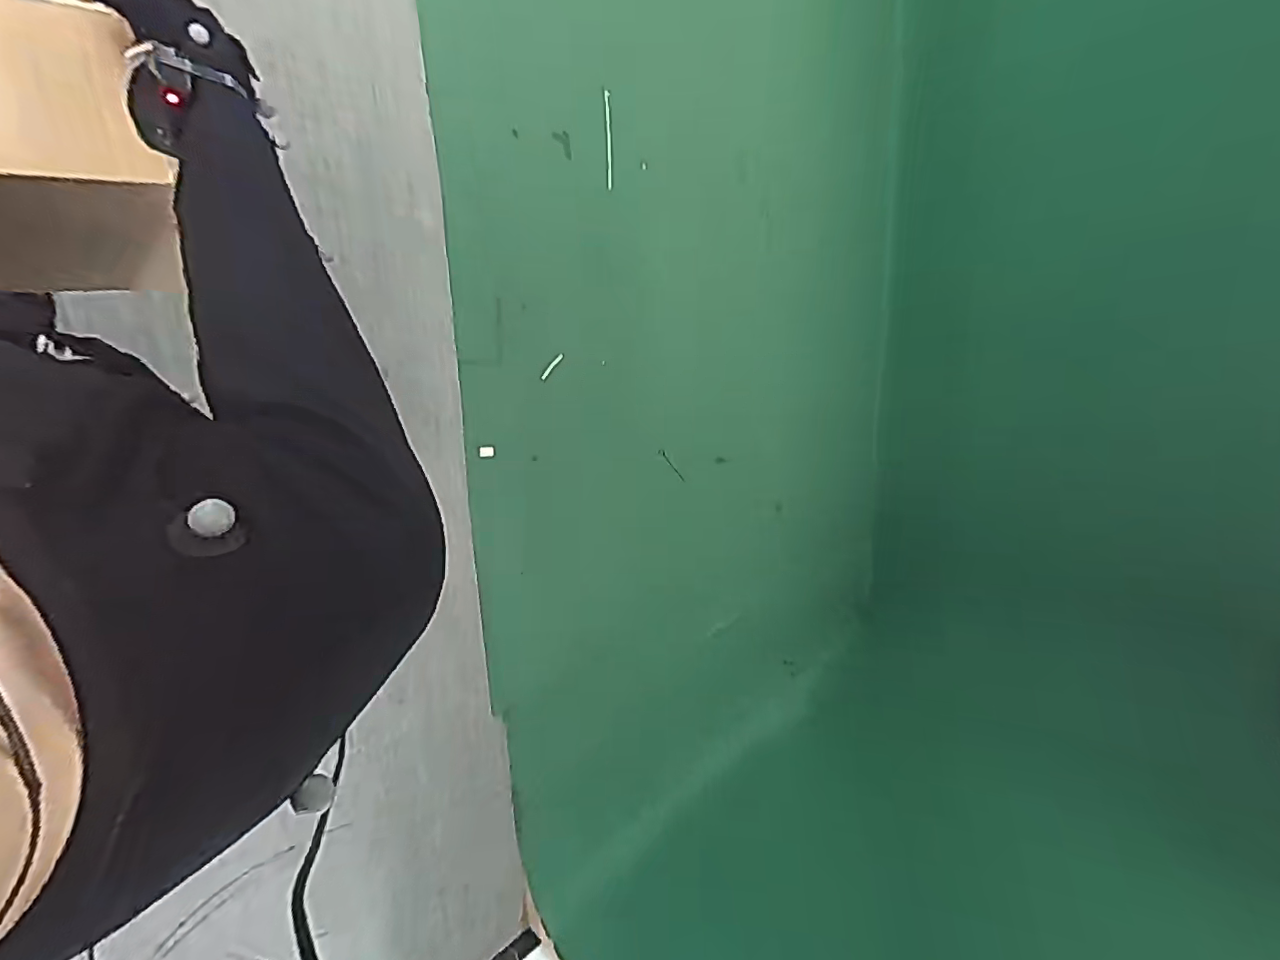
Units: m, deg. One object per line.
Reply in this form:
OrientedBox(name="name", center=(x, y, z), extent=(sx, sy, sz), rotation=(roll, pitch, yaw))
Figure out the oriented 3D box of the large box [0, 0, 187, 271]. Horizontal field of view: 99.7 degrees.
OrientedBox(name="large box", center=(-0.724, -0.396, 0.499), extent=(0.408, 0.320, 0.320), rotation=(-17, 99, -36))
